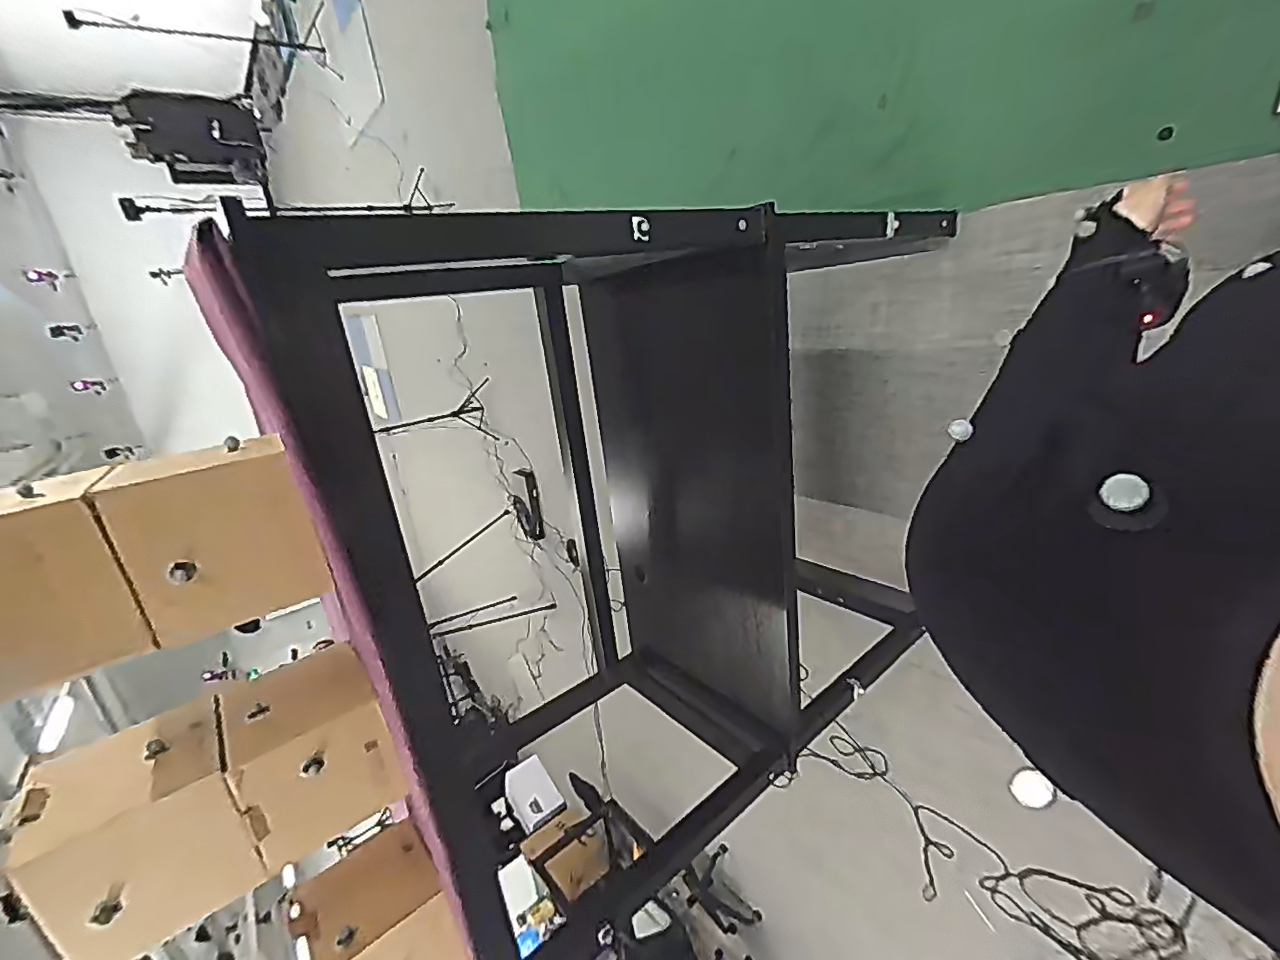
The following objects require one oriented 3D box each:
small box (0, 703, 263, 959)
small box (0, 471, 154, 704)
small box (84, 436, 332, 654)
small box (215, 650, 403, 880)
[{"bbox_3d":[-0.558,0.401,0.622,0.168,0.176,0.179,17,119,48],"label":"small box"},{"bbox_3d":[-0.609,0.106,0.543,0.168,0.176,0.179,17,119,52],"label":"small box"},{"bbox_3d":[-0.477,0.060,0.626,0.168,0.176,0.179,16,119,52],"label":"small box"},{"bbox_3d":[-0.430,0.356,0.715,0.179,0.176,0.168,18,119,50],"label":"small box"}]
